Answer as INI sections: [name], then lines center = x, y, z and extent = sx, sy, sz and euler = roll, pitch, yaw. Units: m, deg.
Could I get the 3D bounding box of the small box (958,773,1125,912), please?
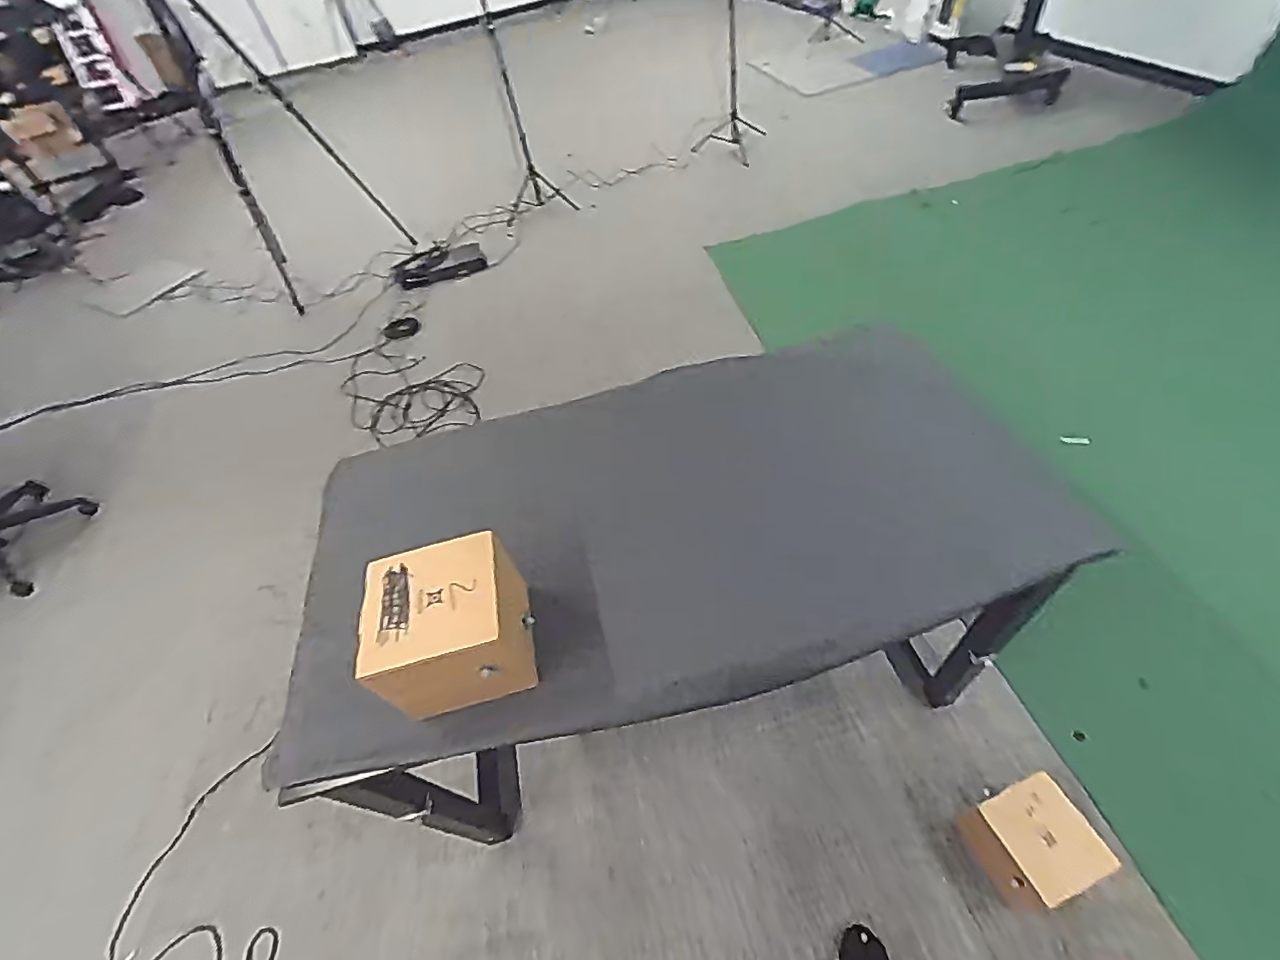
[small box]
center = 0.779, 0.718, 1.073
extent = 0.168, 0.176, 0.179
euler = -22, 50, -7
